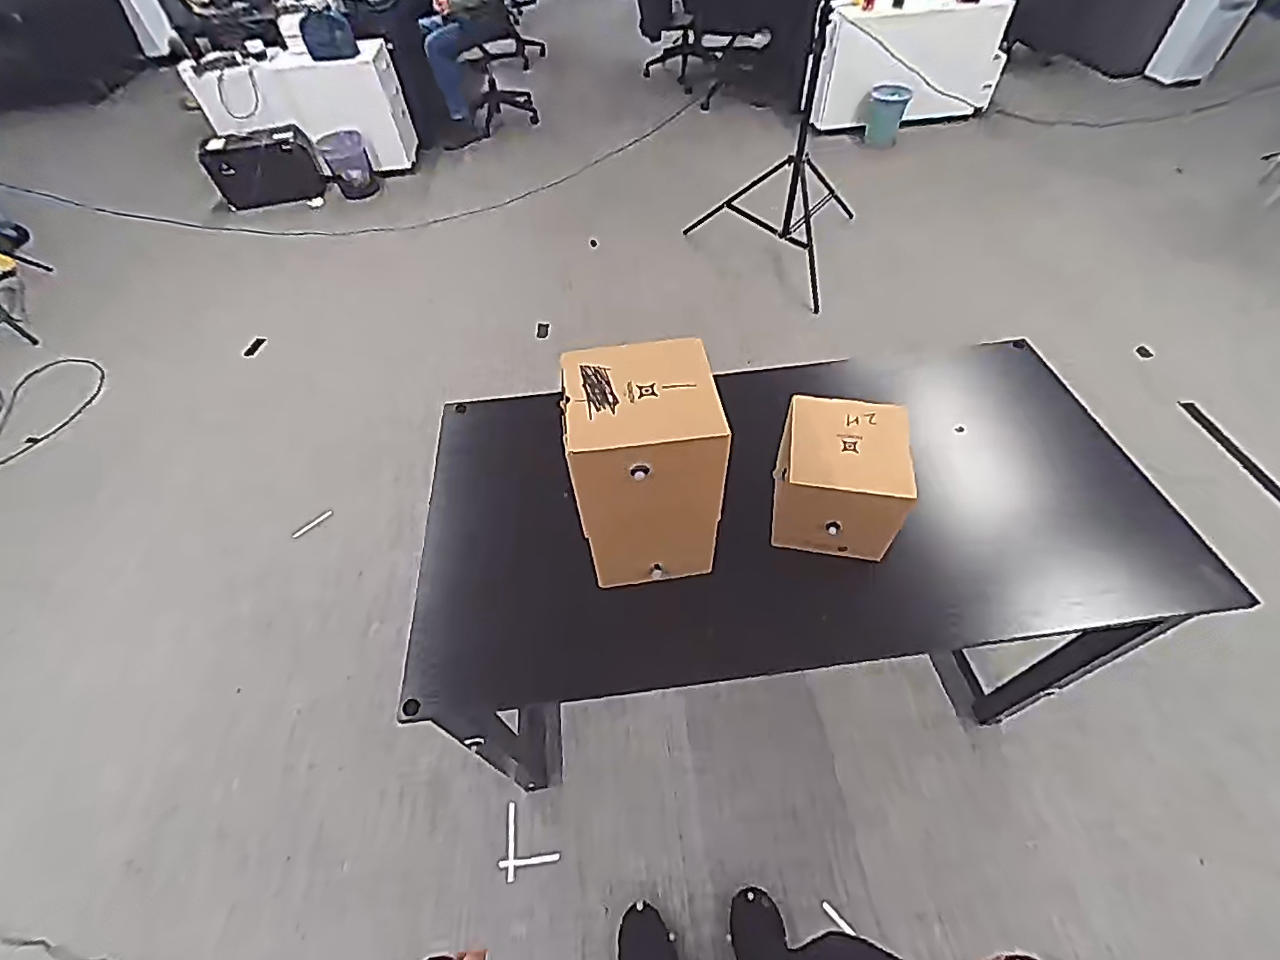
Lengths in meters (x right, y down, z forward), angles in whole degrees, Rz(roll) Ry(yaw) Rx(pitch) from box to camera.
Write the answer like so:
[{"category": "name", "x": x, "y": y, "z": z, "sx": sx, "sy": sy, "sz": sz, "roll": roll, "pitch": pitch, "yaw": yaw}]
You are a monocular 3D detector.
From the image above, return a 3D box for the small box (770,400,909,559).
[{"category": "small box", "x": 0.300, "y": 0.003, "z": 0.839, "sx": 0.168, "sy": 0.176, "sz": 0.179, "roll": 8, "pitch": 53, "yaw": 9}]

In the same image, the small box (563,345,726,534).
[{"category": "small box", "x": 0.004, "y": -0.046, "z": 0.685, "sx": 0.179, "sy": 0.176, "sz": 0.168, "roll": -7, "pitch": 52, "yaw": -3}]

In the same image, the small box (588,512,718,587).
[{"category": "small box", "x": 0.010, "y": 0.046, "z": 0.824, "sx": 0.179, "sy": 0.176, "sz": 0.168, "roll": -8, "pitch": 52, "yaw": -4}]
